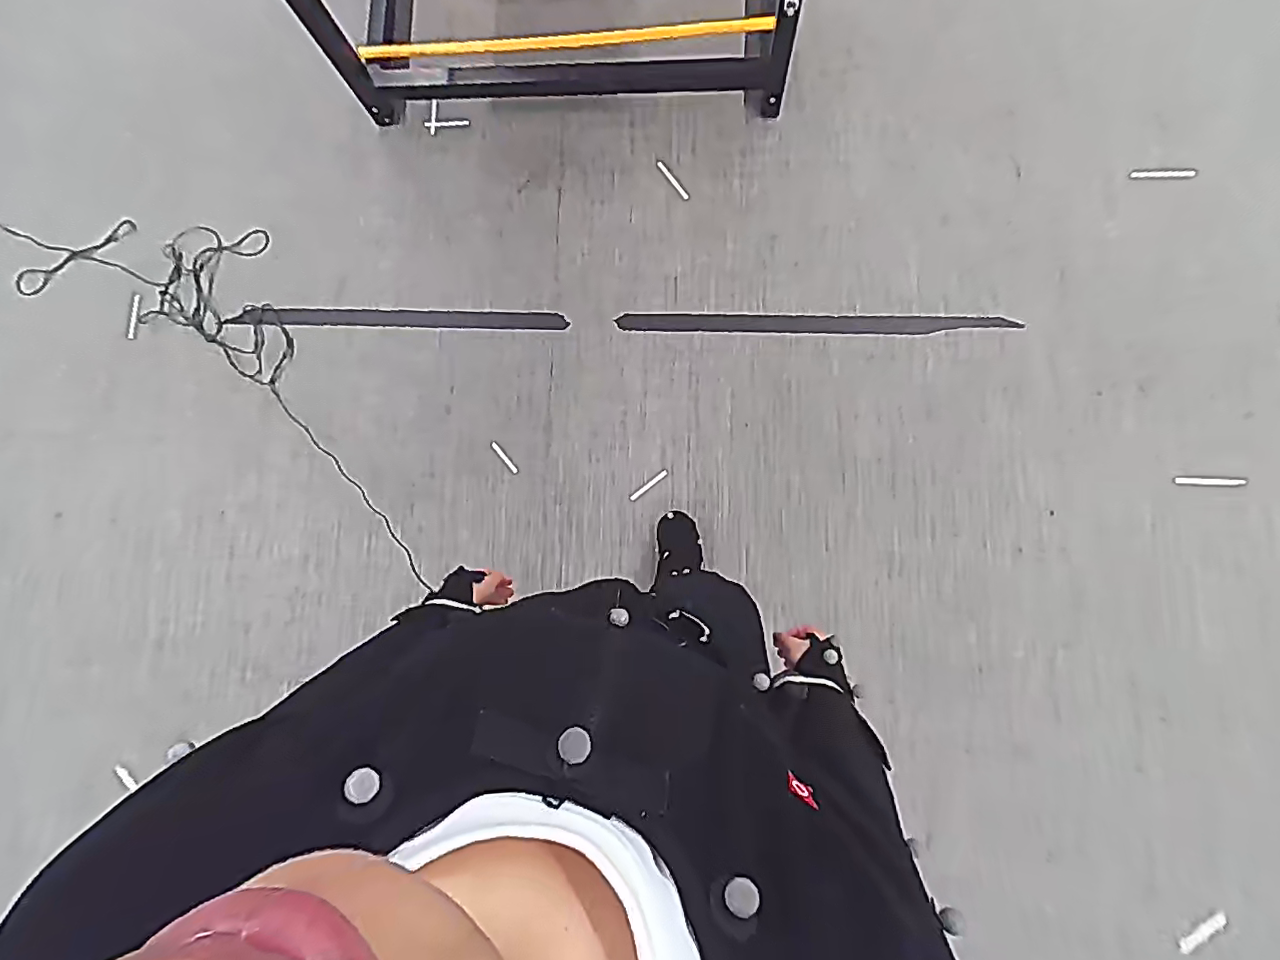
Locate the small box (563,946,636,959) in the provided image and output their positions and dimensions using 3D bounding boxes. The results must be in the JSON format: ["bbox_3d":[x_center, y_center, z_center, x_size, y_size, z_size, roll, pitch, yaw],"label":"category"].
[{"bbox_3d":[-0.105,1.194,1.210,0.179,0.176,0.168,2,83,4],"label":"small box"}]
